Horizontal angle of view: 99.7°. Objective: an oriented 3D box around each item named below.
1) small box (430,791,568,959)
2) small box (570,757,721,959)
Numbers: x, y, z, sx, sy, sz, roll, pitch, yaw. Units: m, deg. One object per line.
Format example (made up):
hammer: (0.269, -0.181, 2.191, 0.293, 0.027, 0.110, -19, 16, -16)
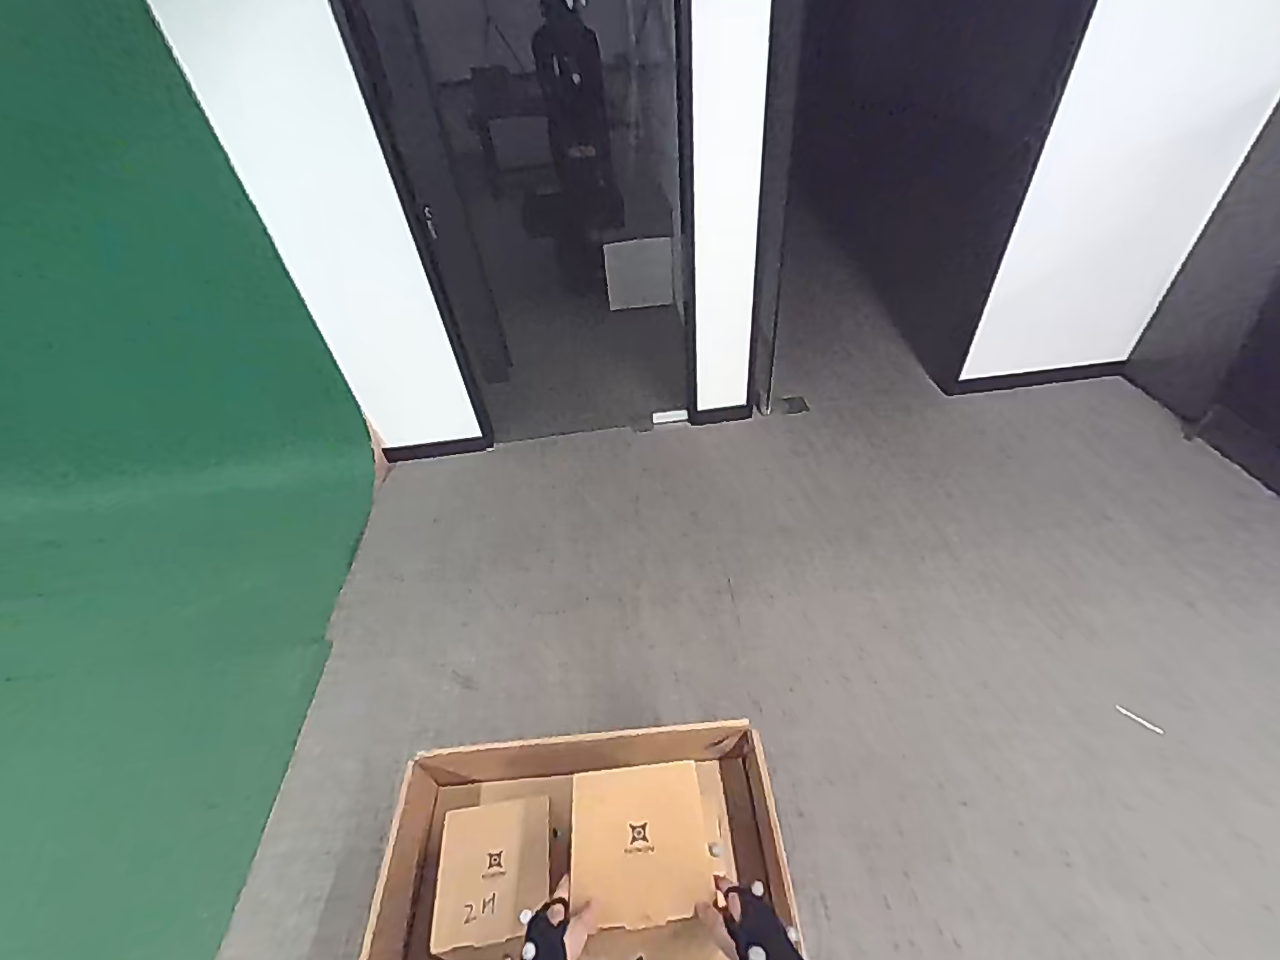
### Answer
small box: (-0.208, 0.621, 0.848, 0.168, 0.176, 0.179, -8, 43, -2)
small box: (0.006, 0.489, 0.691, 0.168, 0.176, 0.179, -6, 34, -1)
